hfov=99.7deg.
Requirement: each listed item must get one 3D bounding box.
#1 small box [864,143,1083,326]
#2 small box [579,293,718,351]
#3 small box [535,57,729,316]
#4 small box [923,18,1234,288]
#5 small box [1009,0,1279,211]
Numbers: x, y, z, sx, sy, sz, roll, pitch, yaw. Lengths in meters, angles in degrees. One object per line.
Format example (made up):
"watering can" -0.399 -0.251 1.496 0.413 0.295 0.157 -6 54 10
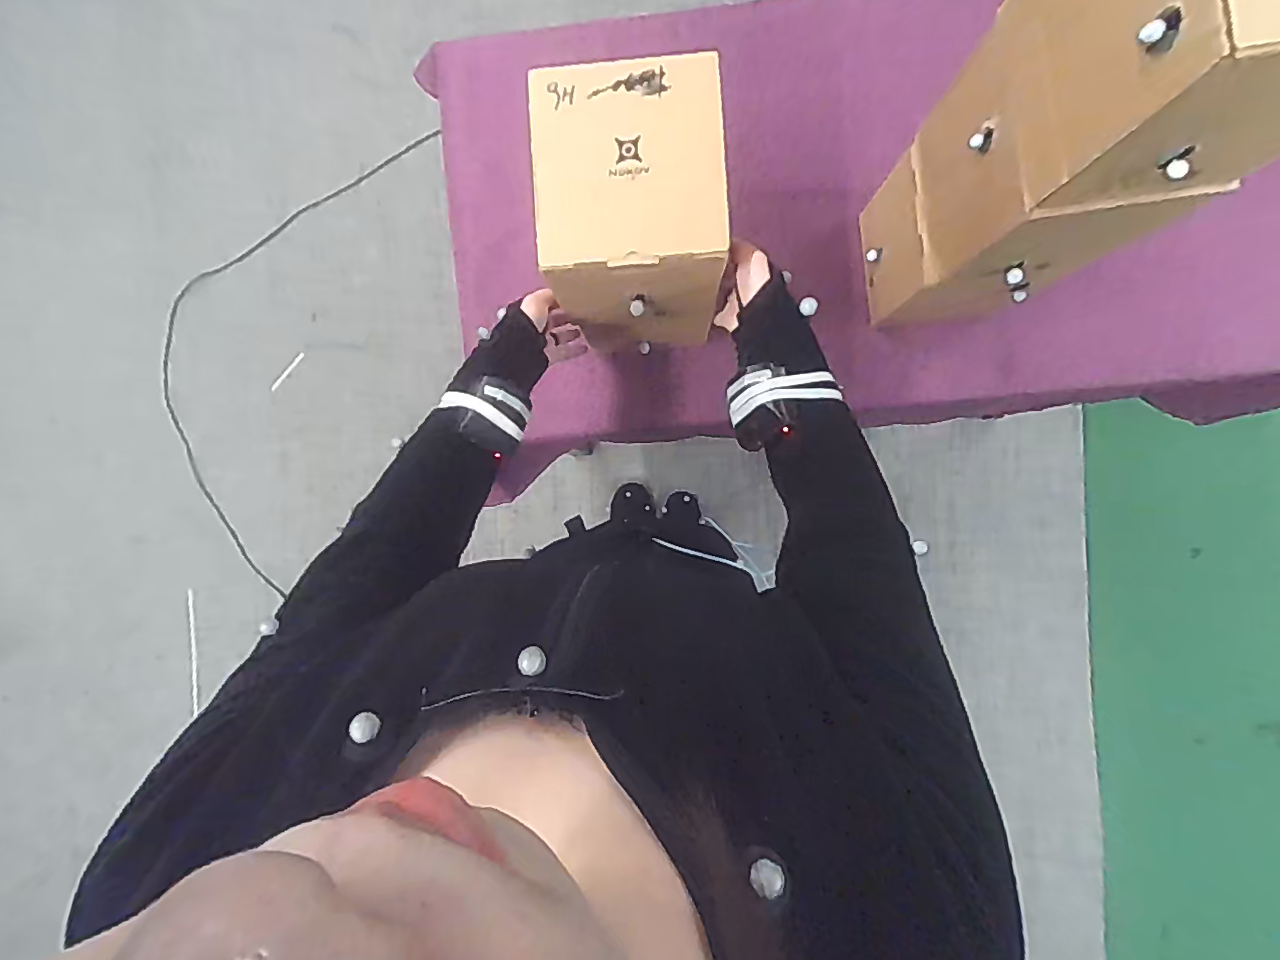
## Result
"small box" 0.407 -0.305 0.686 0.179 0.176 0.168 -5 89 3
"small box" 0.010 -0.279 0.709 0.168 0.176 0.179 -3 90 3
"small box" -0.002 -0.272 0.545 0.168 0.176 0.179 -3 91 3
"small box" 0.397 -0.308 0.523 0.168 0.176 0.179 -6 90 4
"small box" 0.384 -0.315 0.361 0.168 0.176 0.179 -8 90 4
